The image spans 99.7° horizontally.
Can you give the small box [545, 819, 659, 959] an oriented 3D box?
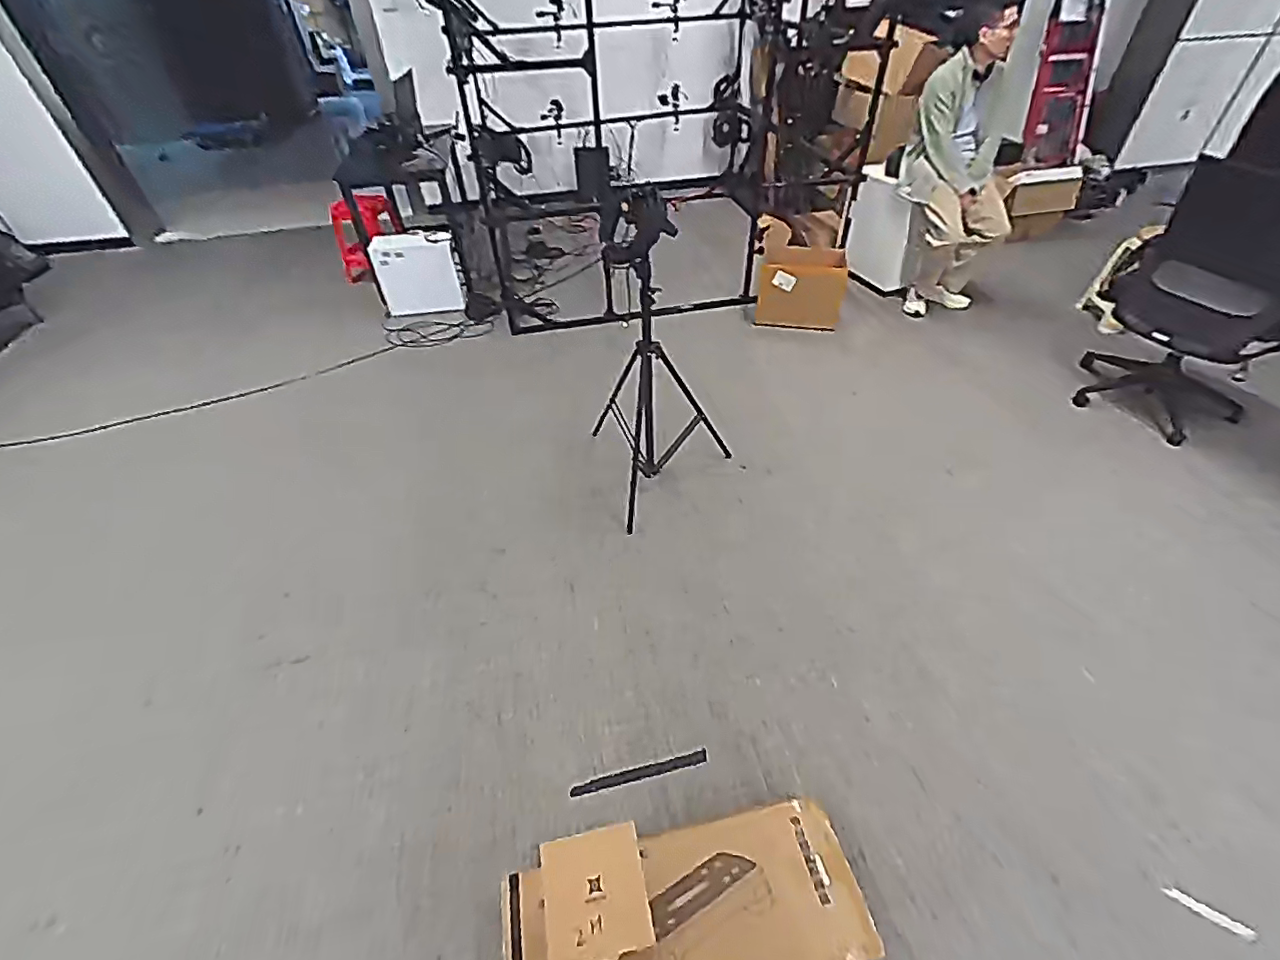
[{"bbox_3d":[-0.067,0.724,0.932,0.168,0.176,0.179,-9,43,-8],"label":"small box"}]
